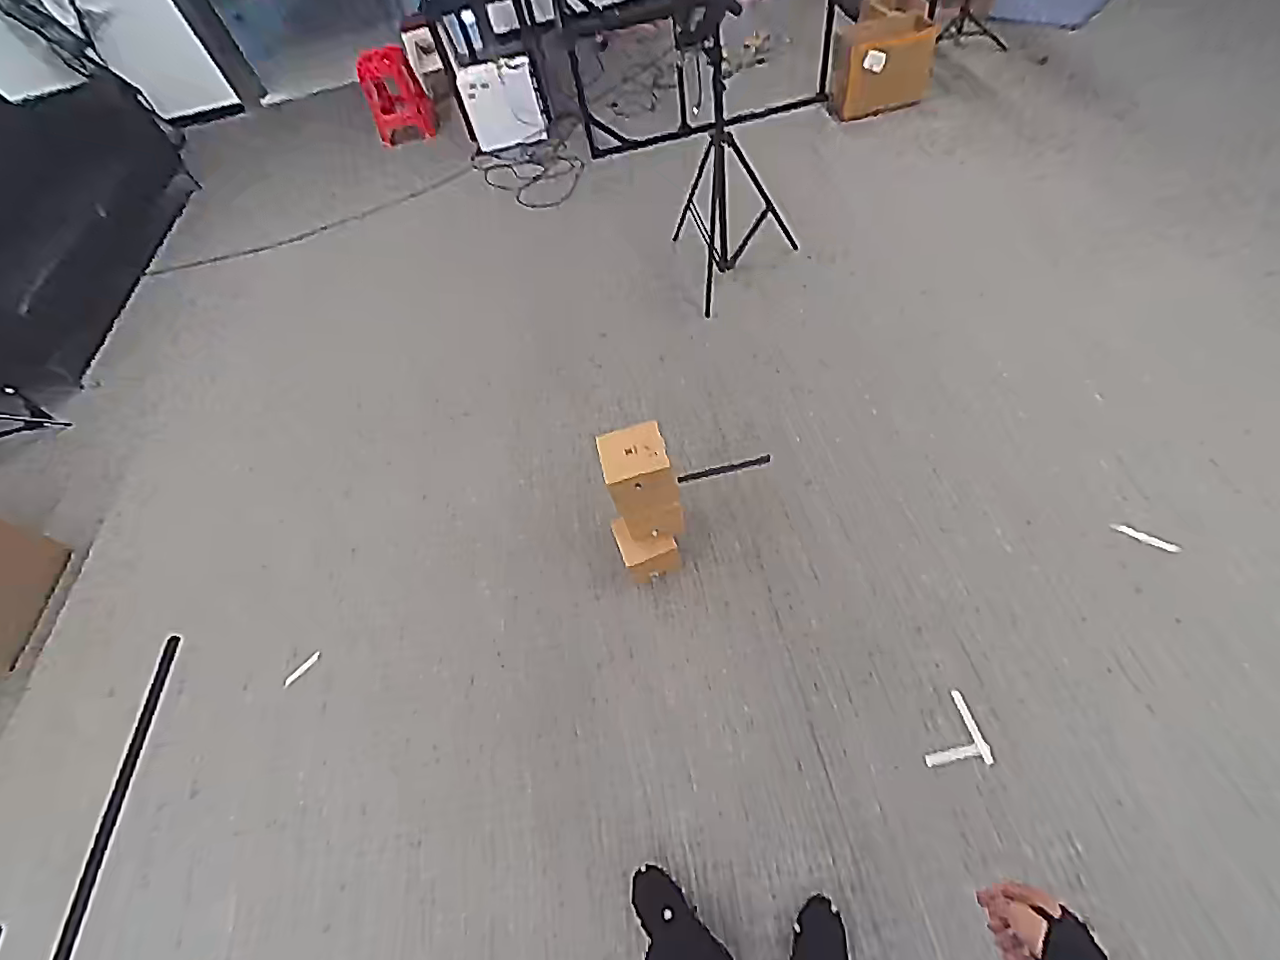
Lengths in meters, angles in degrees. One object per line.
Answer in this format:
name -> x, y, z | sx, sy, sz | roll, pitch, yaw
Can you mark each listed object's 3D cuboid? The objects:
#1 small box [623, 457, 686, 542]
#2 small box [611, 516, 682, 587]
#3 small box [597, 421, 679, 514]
small box -> 0.038, 0.060, 1.605 | 0.168, 0.176, 0.179 | -10, 55, 6
small box -> 0.023, 0.209, 1.707 | 0.168, 0.176, 0.179 | -22, 55, -3
small box -> -0.005, -0.028, 1.472 | 0.179, 0.176, 0.168 | -16, 54, 2
